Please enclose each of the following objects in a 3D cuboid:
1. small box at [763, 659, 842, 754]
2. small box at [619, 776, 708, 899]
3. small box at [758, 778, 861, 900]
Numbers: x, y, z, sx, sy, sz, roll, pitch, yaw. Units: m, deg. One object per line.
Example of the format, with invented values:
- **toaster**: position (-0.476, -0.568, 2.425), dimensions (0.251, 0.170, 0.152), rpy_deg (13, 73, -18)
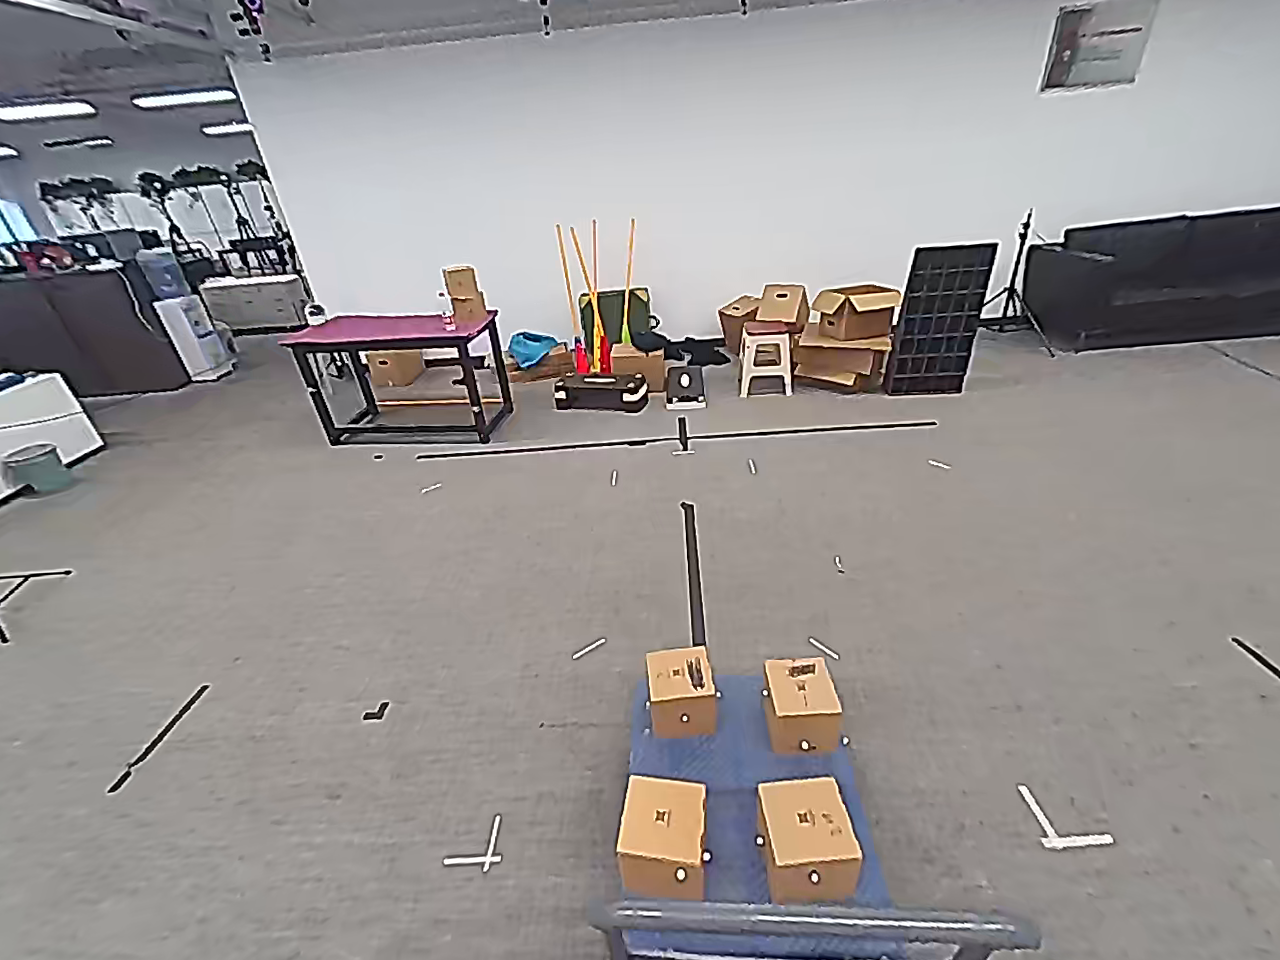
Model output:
- **small box**: position (0.433, 0.614, 1.468), dimensions (0.168, 0.176, 0.179), rpy_deg (-4, 31, 3)
- **small box**: position (0.059, 0.800, 1.211), dimensions (0.179, 0.176, 0.168), rpy_deg (2, 30, 10)
- **small box**: position (0.362, 0.788, 1.185), dimensions (0.179, 0.176, 0.168), rpy_deg (-5, 31, 0)
